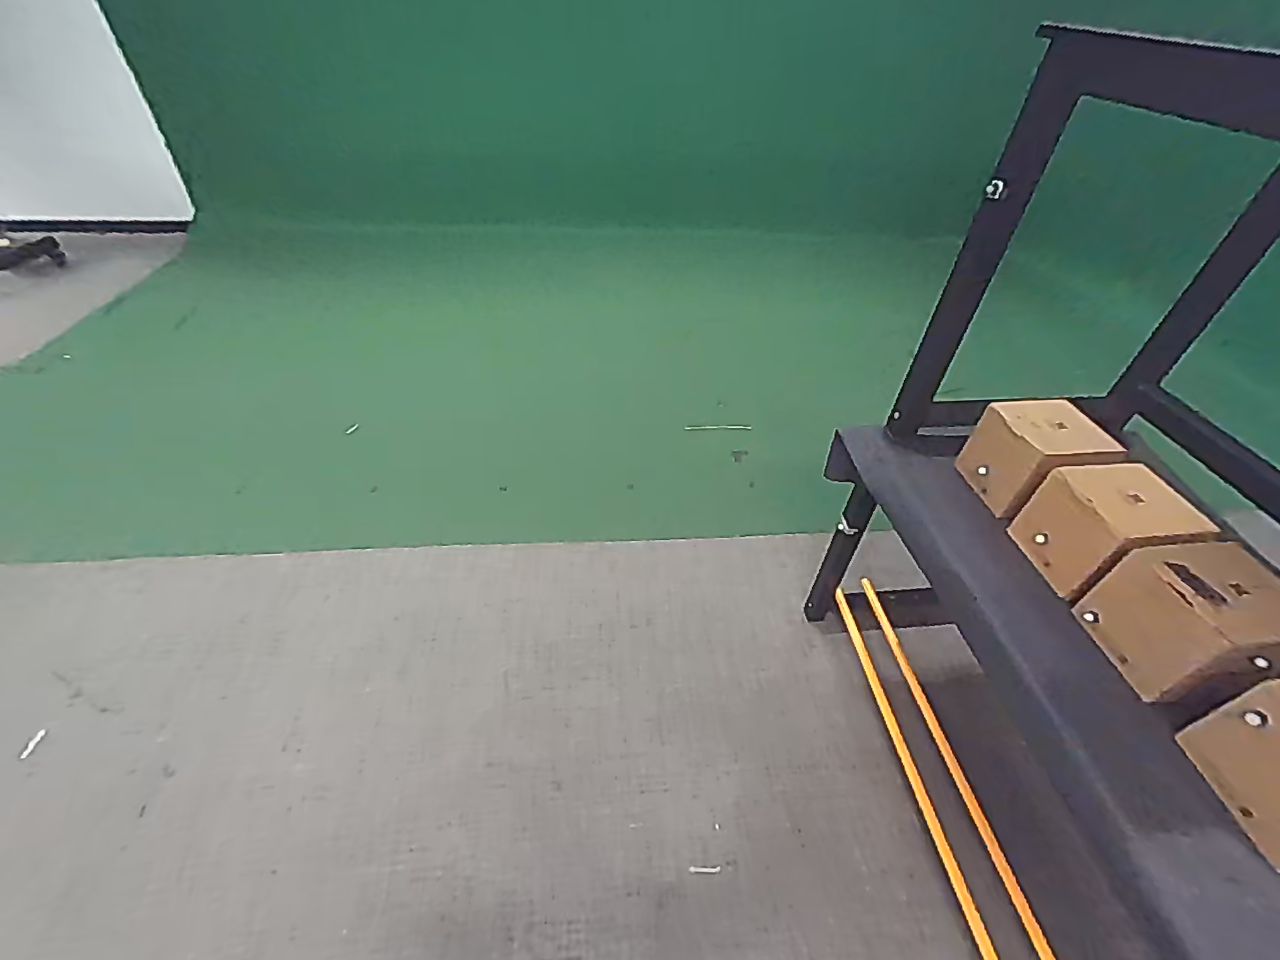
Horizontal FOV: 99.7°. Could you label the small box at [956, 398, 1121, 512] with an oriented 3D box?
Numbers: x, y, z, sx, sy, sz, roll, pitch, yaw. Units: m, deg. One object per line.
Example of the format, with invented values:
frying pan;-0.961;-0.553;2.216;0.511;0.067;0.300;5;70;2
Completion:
small box;0.794;-0.050;1.100;0.179;0.176;0.168;-3;43;-7
